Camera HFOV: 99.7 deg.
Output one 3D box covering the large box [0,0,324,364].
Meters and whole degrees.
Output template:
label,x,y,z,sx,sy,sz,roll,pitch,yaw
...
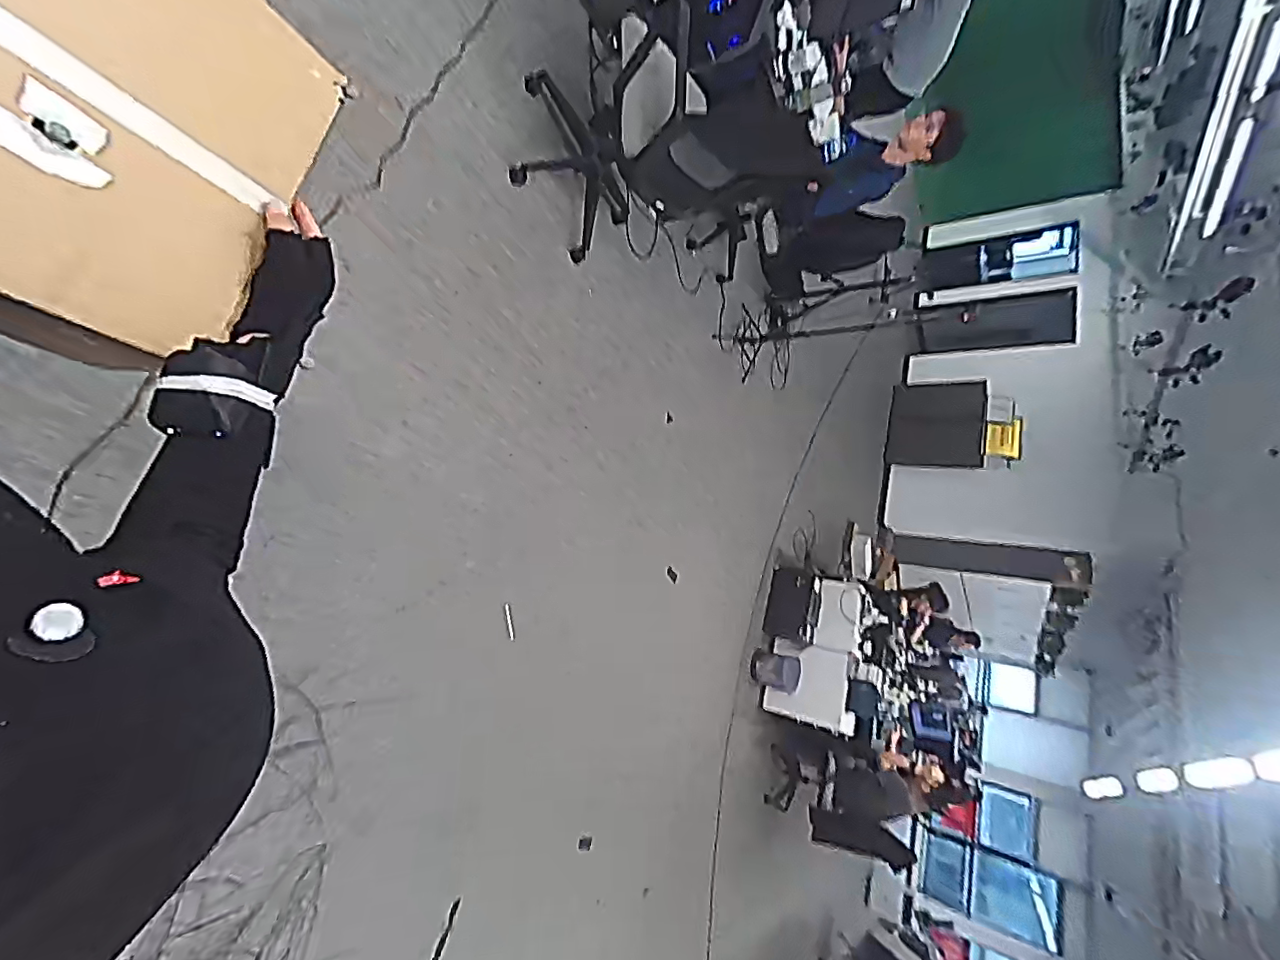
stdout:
label,x,y,z,sx,sy,sz,roll,pitch,yaw
large box,-0.560,-0.314,0.406,0.408,0.320,0.320,31,71,-57
